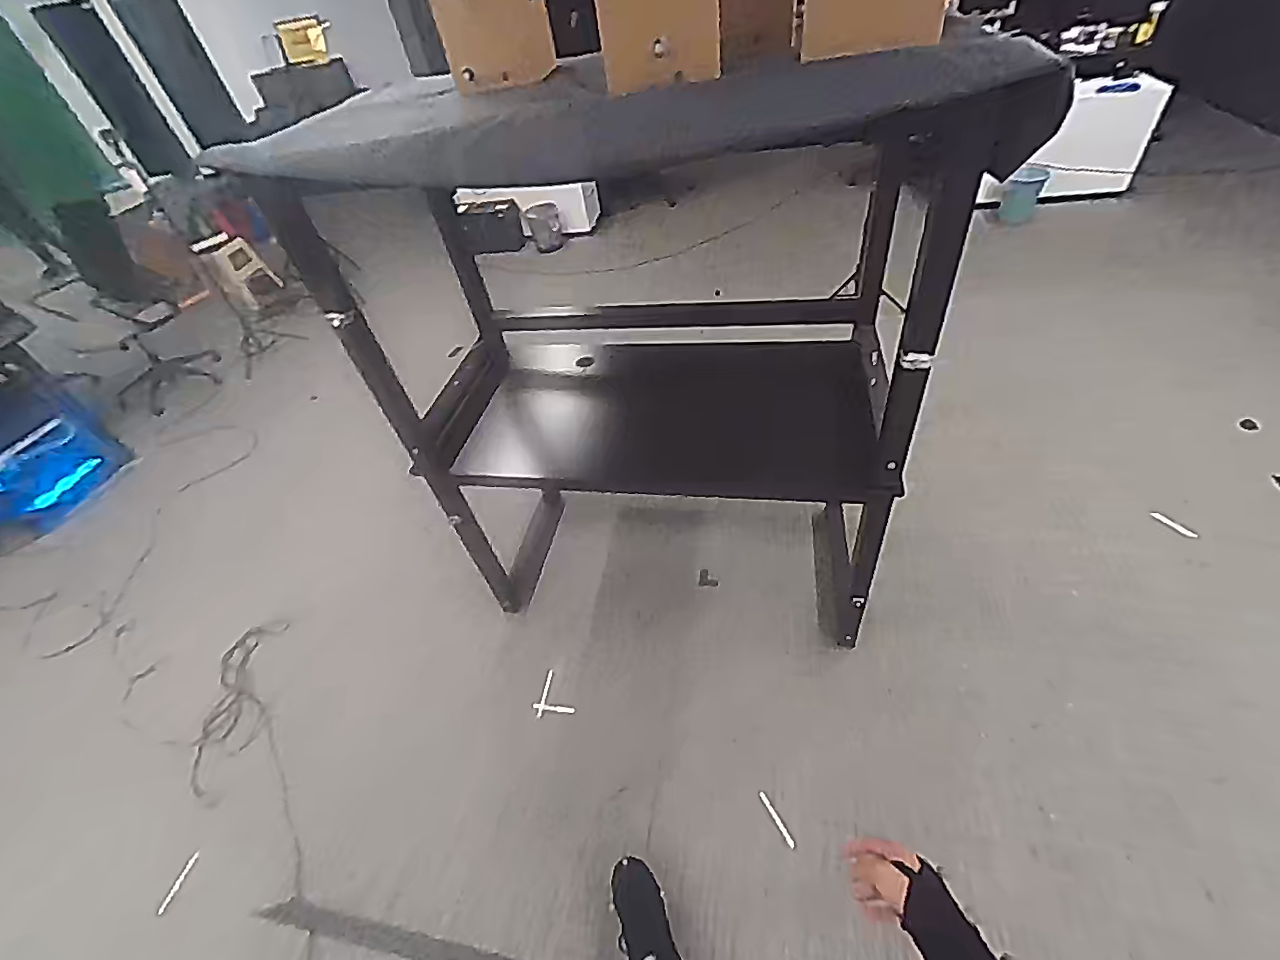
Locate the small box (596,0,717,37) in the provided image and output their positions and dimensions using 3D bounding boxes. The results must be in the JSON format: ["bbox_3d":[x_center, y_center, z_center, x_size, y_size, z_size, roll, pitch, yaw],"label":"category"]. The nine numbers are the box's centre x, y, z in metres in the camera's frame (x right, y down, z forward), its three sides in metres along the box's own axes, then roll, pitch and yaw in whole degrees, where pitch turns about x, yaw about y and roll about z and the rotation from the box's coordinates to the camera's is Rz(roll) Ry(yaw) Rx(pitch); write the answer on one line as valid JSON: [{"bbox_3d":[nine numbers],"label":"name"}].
[{"bbox_3d":[0.020,-0.741,0.753,0.168,0.176,0.179,-2,46,9],"label":"small box"}]

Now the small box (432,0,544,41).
[{"bbox_3d":[-0.288,-0.928,0.990,0.168,0.176,0.179,0,46,10],"label":"small box"}]
